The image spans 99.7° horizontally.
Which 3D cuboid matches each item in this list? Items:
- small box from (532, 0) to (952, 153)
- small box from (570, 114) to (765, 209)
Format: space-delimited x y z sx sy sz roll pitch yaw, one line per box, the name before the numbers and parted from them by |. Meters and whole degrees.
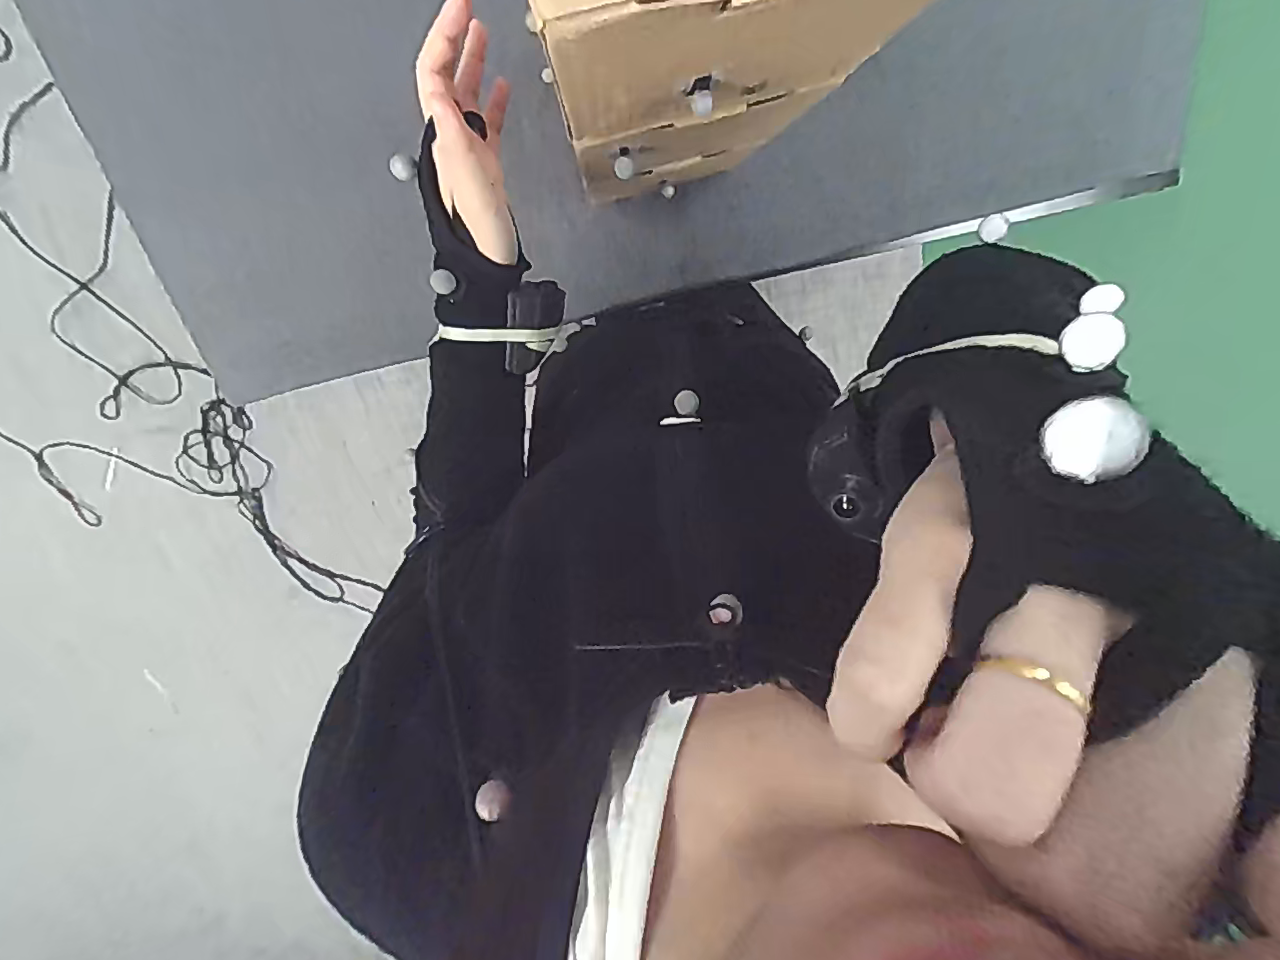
small box | 0.025 -0.262 0.218 0.168 0.176 0.179 -14 112 2
small box | 0.009 -0.380 0.522 0.168 0.176 0.179 -13 112 2
